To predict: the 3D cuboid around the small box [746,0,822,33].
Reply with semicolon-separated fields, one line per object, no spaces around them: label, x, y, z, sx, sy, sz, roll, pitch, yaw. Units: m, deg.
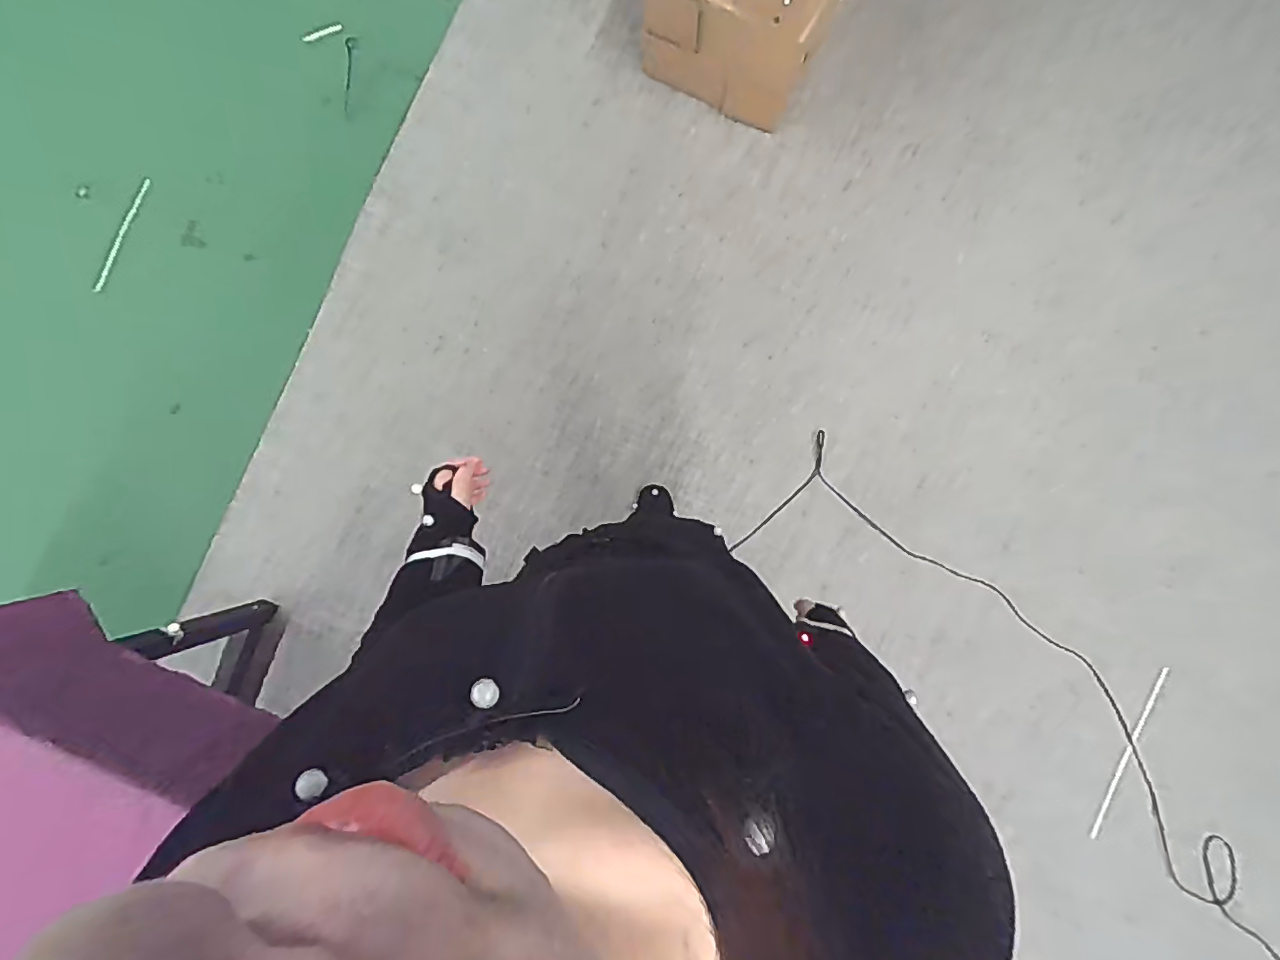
small box;0.324;-1.088;1.112;0.168;0.176;0.179;32;89;2
